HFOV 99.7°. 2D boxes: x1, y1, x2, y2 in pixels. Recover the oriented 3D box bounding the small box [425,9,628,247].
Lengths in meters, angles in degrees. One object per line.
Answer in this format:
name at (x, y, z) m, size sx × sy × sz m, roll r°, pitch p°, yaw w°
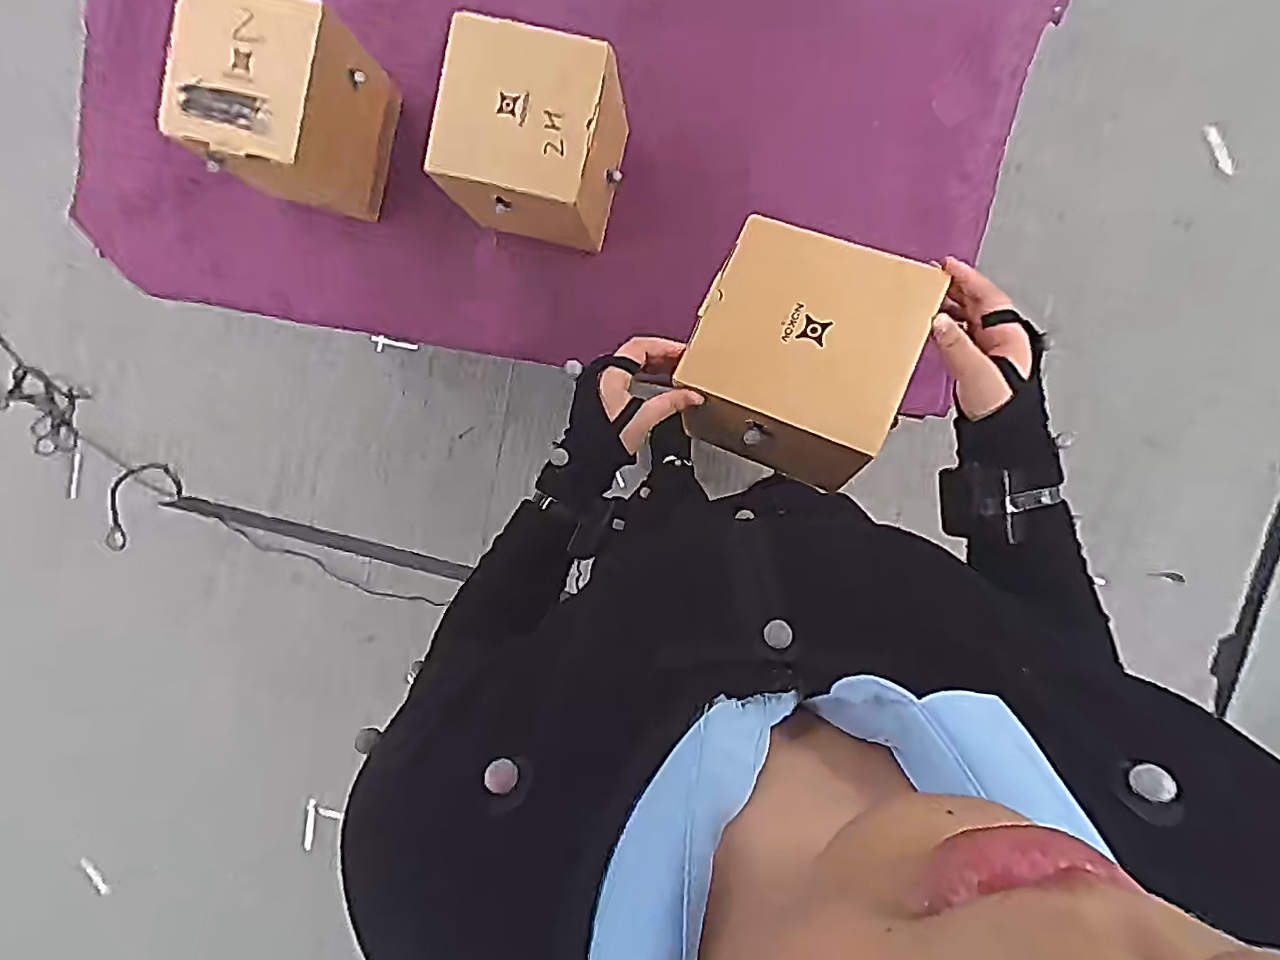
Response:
small box at (-0.123, -0.401, 0.649) m, size 0.179 × 0.176 × 0.168 m, roll 15°, pitch 97°, yaw 3°
